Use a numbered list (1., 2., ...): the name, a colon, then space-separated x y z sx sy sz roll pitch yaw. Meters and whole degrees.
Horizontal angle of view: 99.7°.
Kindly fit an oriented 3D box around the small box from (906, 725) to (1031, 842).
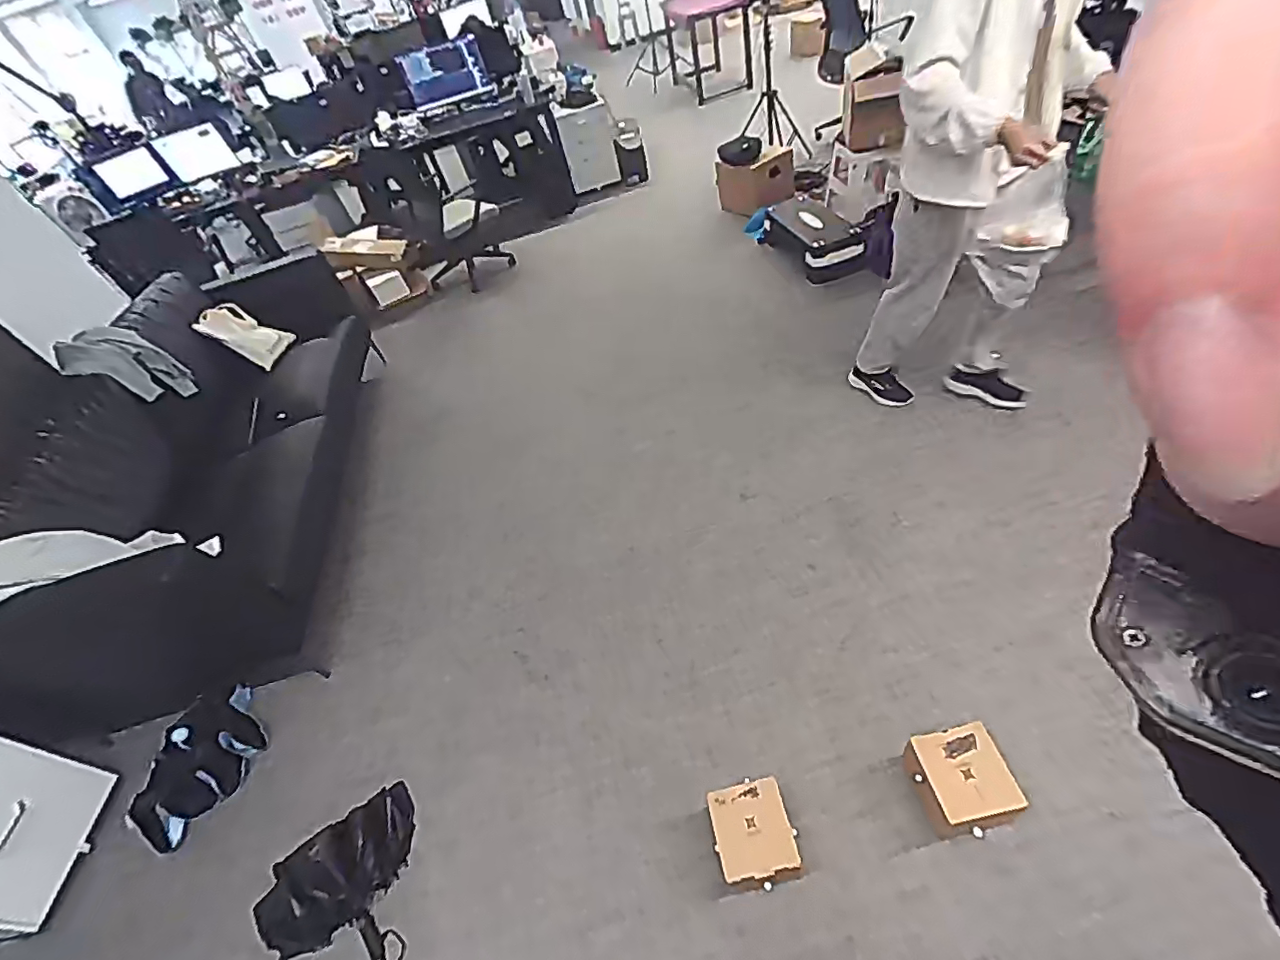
1. small box: 0.725 0.685 1.220 0.168 0.176 0.179 -16 46 3

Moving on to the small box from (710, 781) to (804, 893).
1. small box: 0.269 0.822 1.238 0.168 0.176 0.179 -16 45 3
